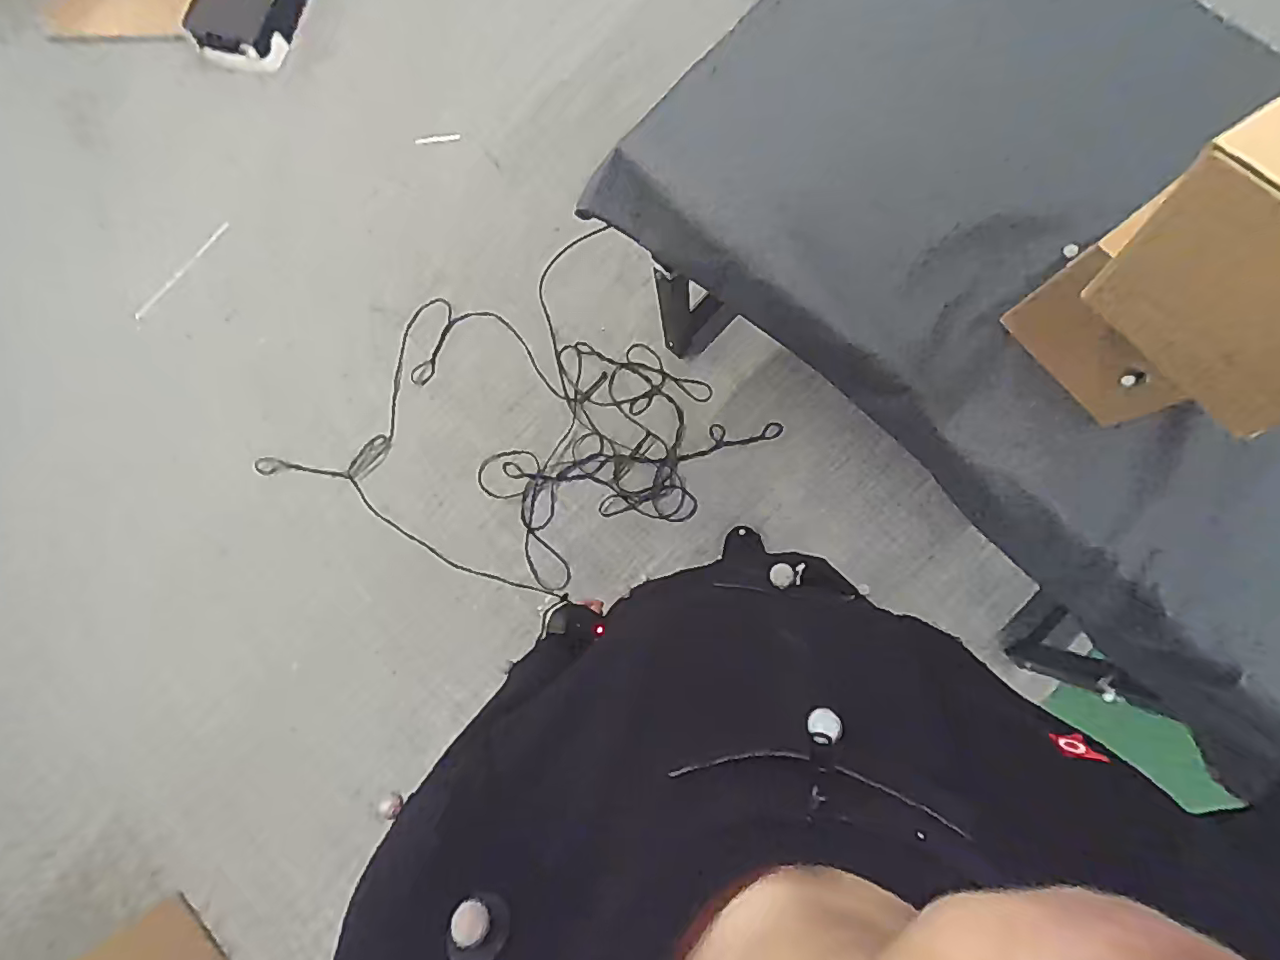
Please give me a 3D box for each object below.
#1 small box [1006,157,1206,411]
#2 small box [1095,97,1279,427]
[{"bbox_3d":[0.548,-0.191,0.569,0.168,0.176,0.179,-38,79,-1],"label":"small box"},{"bbox_3d":[0.492,-0.168,0.384,0.168,0.176,0.179,-33,69,4],"label":"small box"}]
